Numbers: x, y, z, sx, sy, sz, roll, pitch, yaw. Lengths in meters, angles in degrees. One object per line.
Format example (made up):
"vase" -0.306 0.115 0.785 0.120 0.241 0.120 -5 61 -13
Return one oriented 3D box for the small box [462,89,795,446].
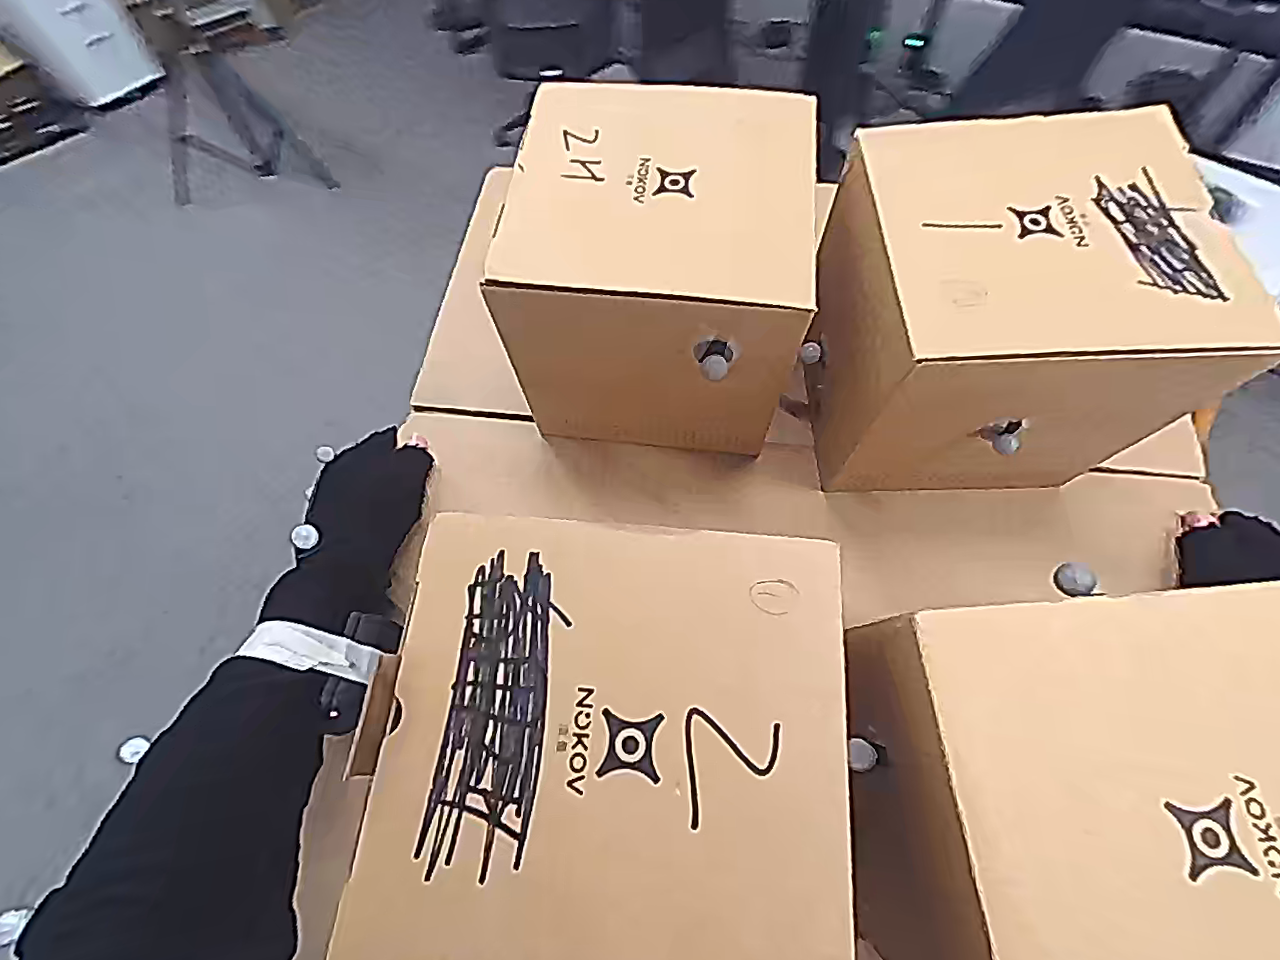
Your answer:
"small box" 0.002 -0.136 0.387 0.179 0.176 0.168 6 67 5
